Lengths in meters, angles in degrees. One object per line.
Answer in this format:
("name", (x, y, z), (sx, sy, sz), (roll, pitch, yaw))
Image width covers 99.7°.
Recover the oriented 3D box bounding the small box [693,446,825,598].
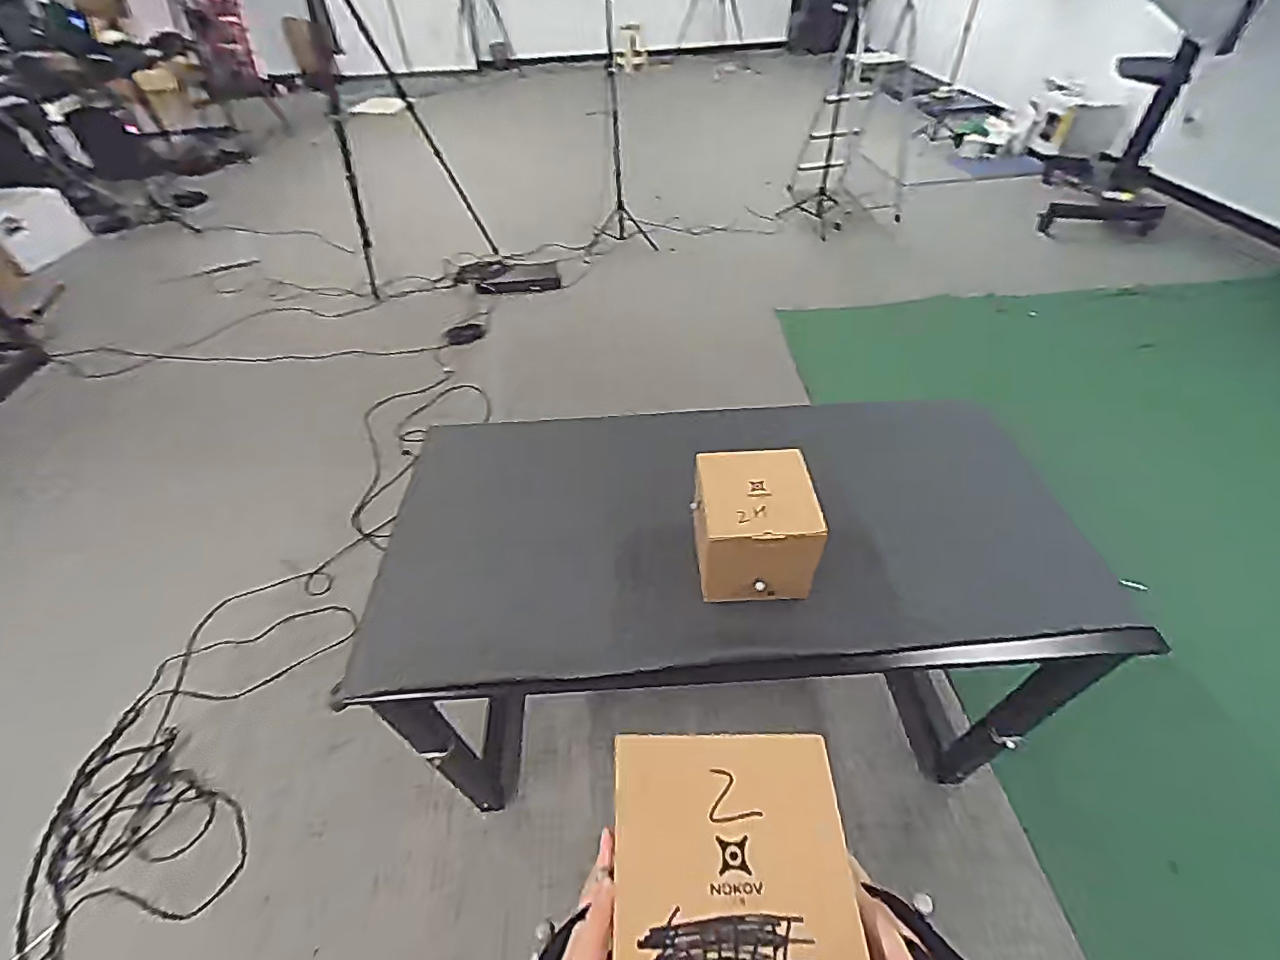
("small box", (0.176, 0.067, 0.862), (0.168, 0.176, 0.179), (-3, 46, 1))
